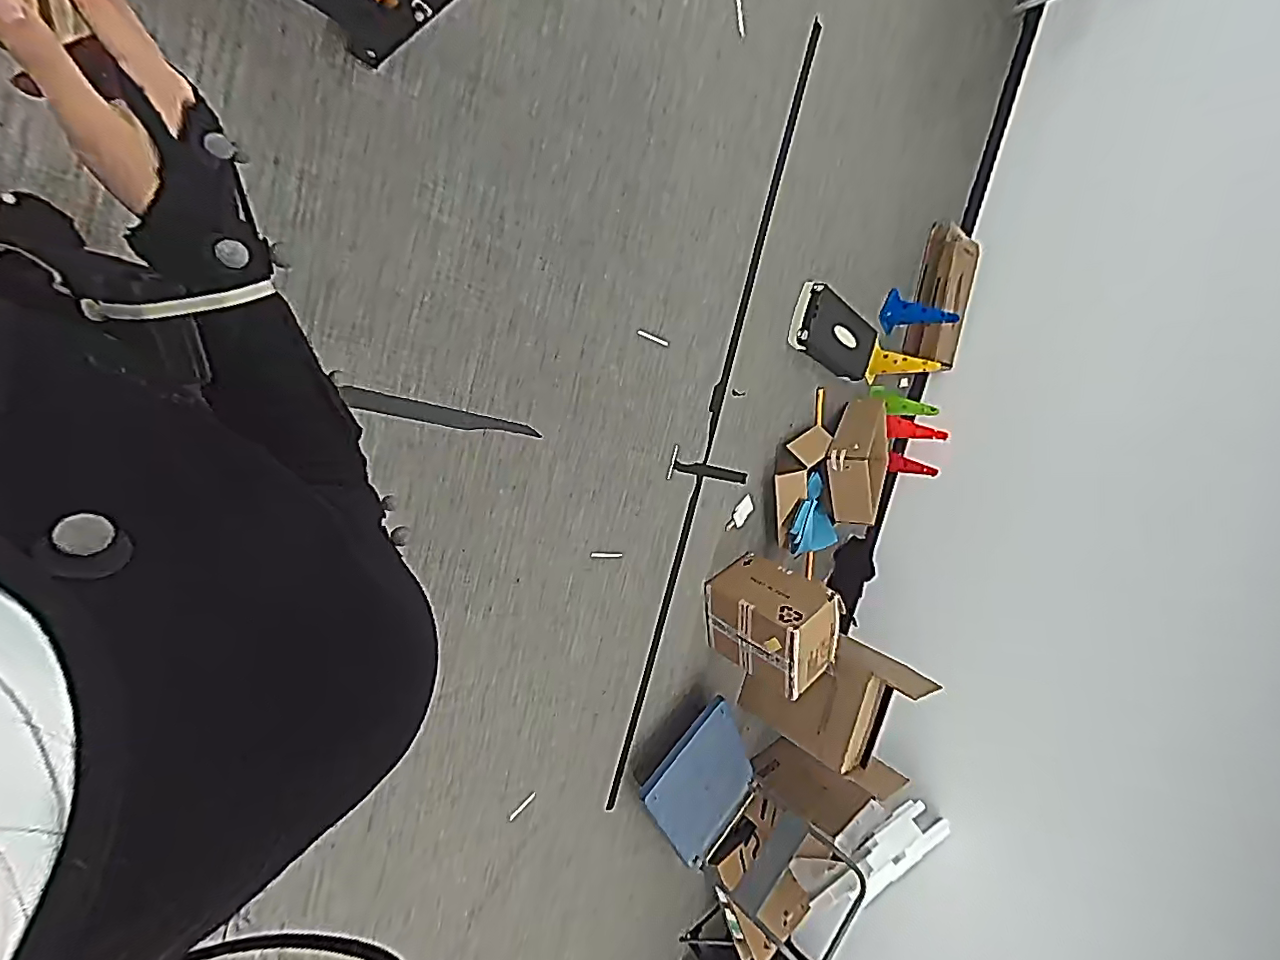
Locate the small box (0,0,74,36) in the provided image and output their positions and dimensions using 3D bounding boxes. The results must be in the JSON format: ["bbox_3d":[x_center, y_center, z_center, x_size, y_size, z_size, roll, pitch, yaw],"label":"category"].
[{"bbox_3d":[-0.358,-0.307,0.211,0.179,0.176,0.168,-4,123,-43],"label":"small box"}]
